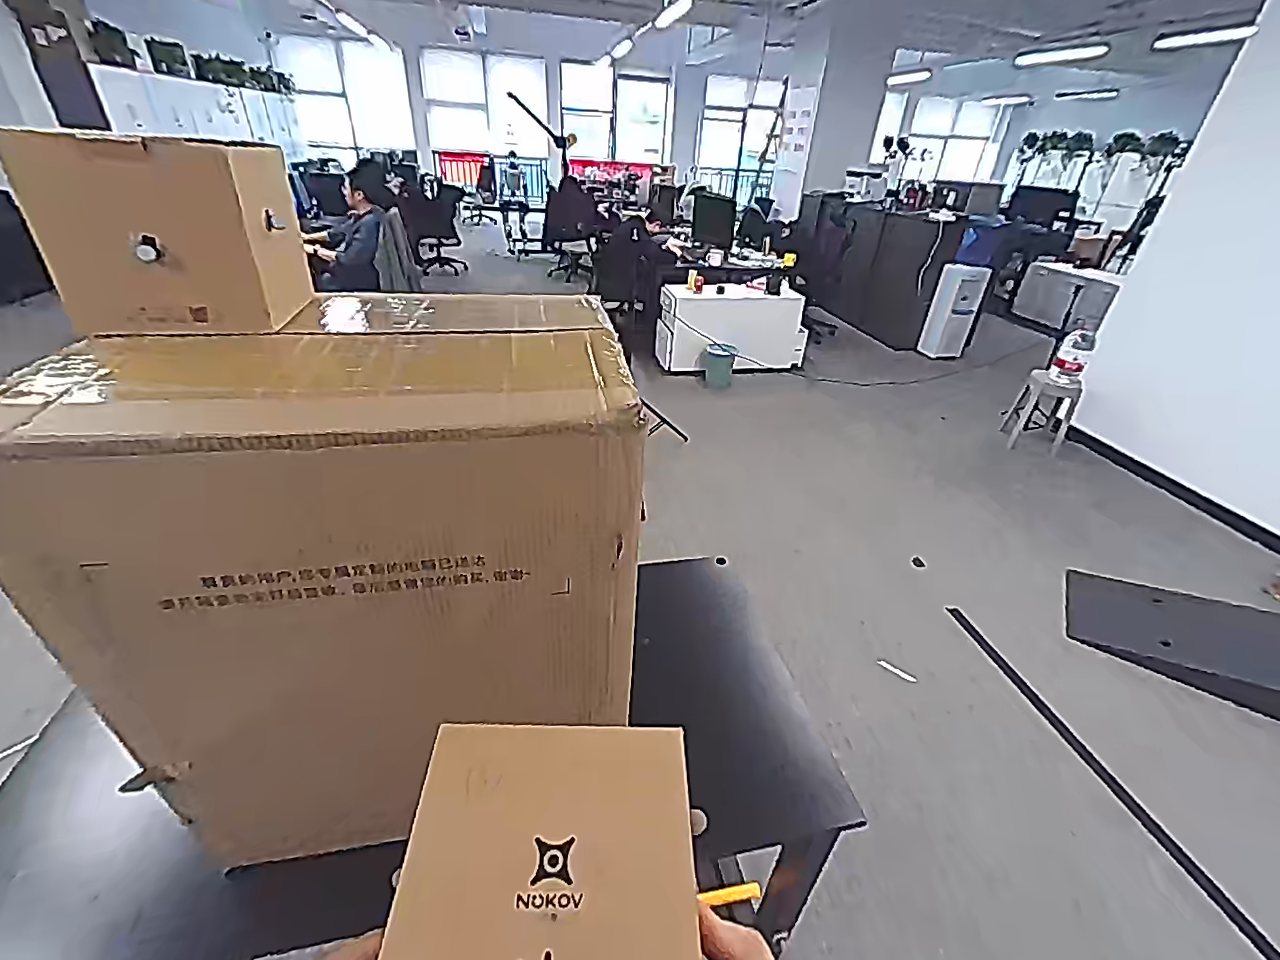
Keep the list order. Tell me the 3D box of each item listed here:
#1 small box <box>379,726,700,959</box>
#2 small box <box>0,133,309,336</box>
[{"bbox_3d":[-0.057,0.286,0.351,0.168,0.176,0.179,3,40,-4],"label":"small box"},{"bbox_3d":[-0.464,-0.250,0.553,0.168,0.176,0.179,-5,32,-15],"label":"small box"}]
